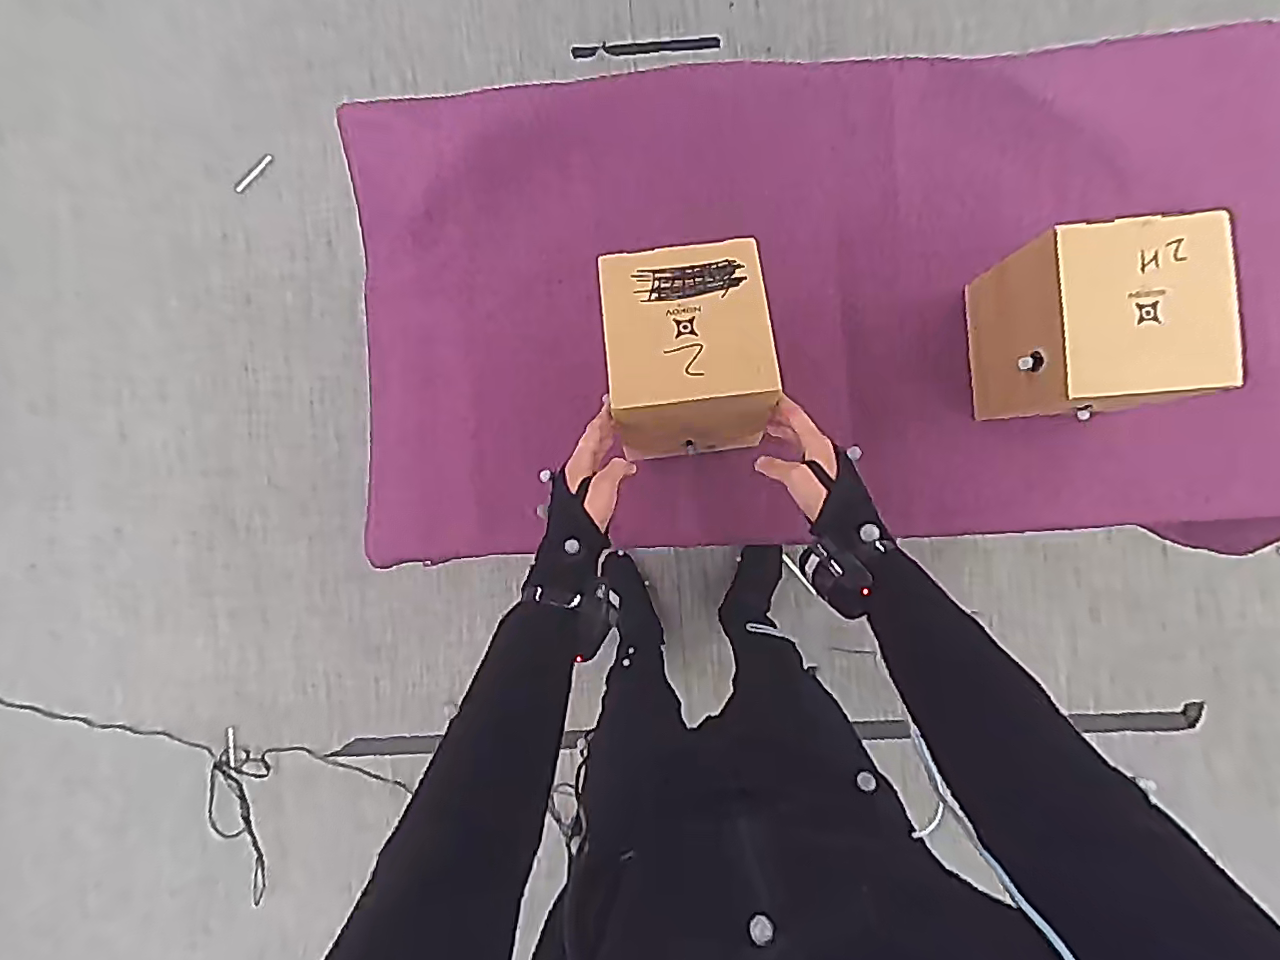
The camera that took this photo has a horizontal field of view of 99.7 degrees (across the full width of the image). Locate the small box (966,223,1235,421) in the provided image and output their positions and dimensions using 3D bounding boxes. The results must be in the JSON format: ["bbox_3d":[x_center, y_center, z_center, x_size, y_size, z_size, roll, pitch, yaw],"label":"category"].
[{"bbox_3d":[0.500,-0.162,0.614,0.168,0.176,0.179,-4,89,3],"label":"small box"}]
